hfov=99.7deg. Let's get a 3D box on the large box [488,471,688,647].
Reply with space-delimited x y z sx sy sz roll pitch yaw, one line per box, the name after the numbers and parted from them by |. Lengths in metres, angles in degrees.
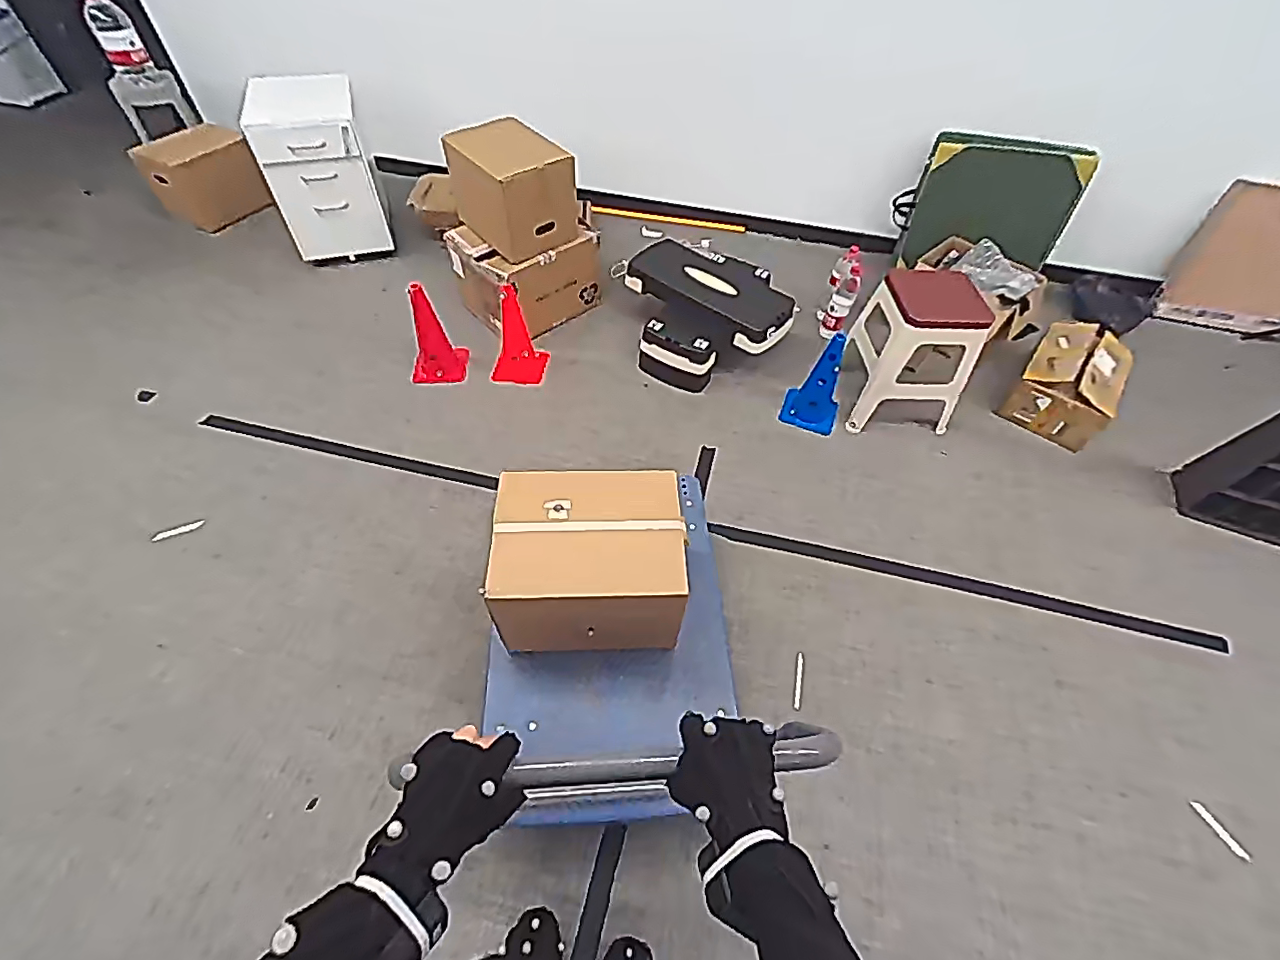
-0.111 0.193 1.278 0.408 0.320 0.320 0 53 -2 | large box
